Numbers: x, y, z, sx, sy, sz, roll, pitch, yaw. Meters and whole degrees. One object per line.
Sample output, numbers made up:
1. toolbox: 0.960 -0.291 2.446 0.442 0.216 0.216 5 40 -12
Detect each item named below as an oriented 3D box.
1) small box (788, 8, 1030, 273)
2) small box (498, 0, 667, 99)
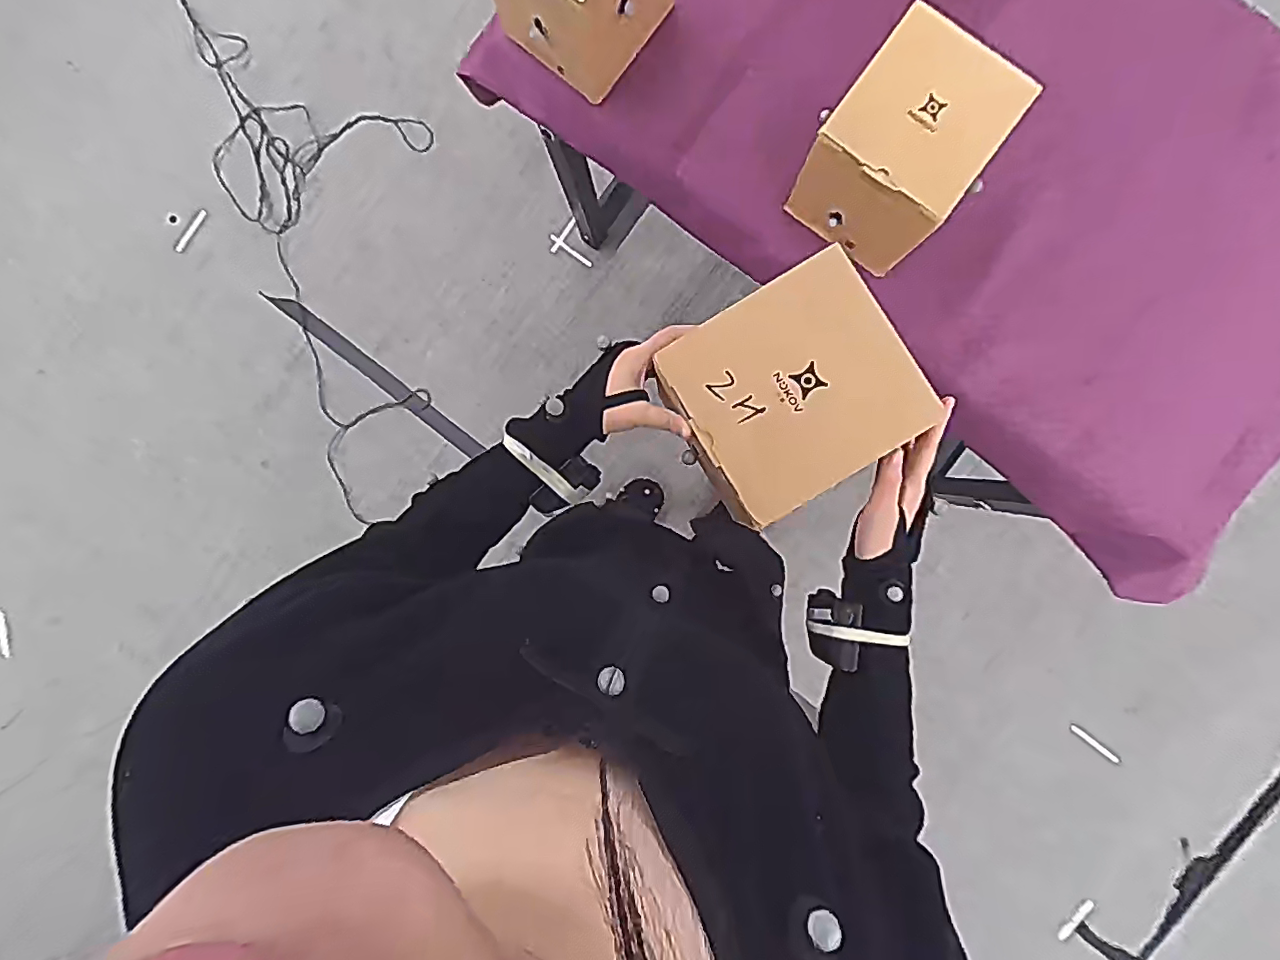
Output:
1. small box: 0.306 -0.393 0.662 0.168 0.176 0.179 36 92 1
2. small box: -0.074 -0.631 0.667 0.168 0.176 0.179 39 93 0
